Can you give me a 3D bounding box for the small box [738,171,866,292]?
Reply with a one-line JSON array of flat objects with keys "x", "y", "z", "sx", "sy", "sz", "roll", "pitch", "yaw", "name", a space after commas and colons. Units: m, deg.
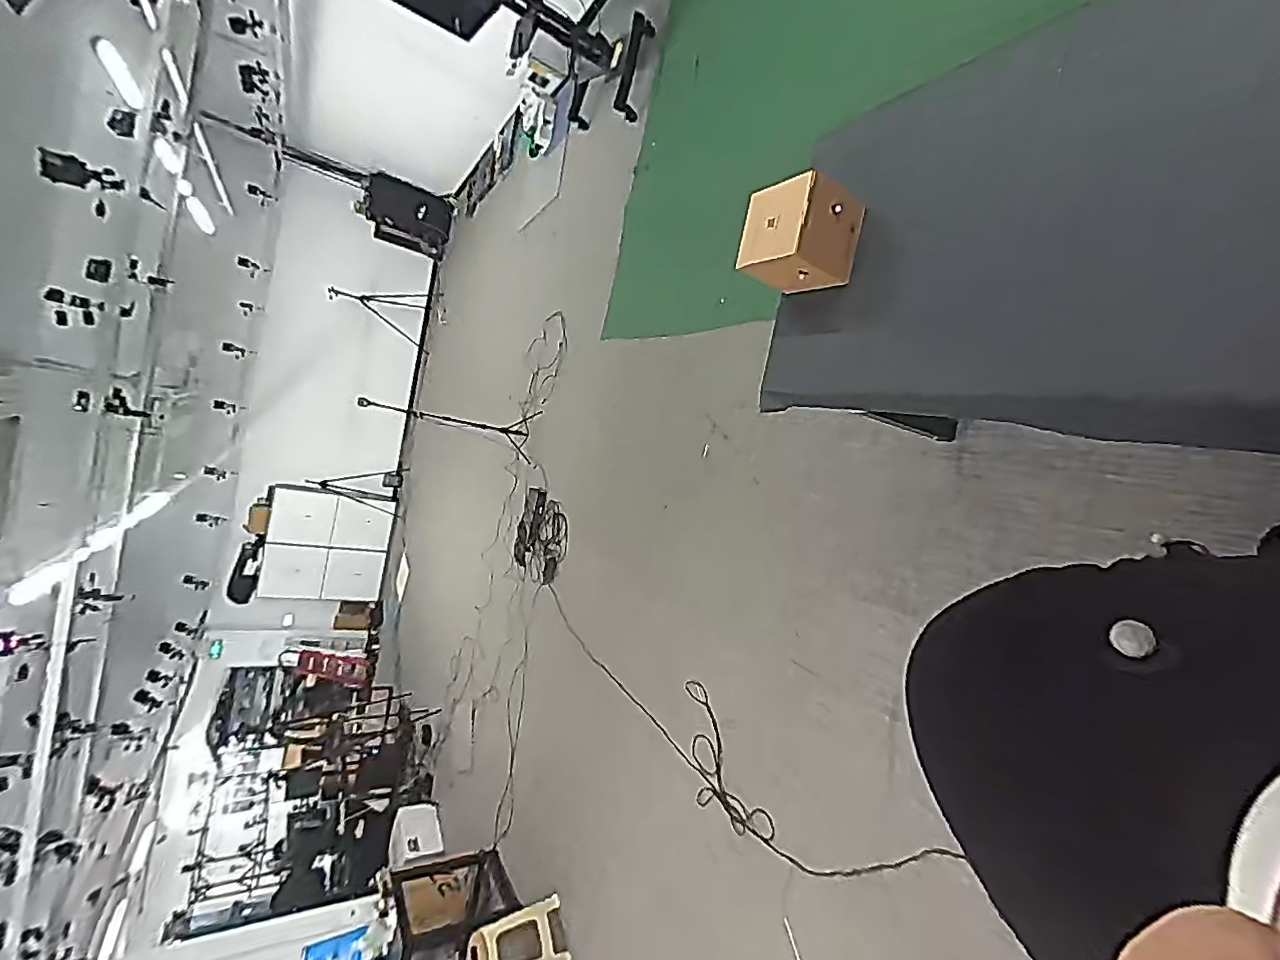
[{"x": 0.343, "y": -0.512, "z": 1.143, "sx": 0.179, "sy": 0.176, "sz": 0.168, "roll": 21, "pitch": 97, "yaw": 57, "name": "small box"}]
